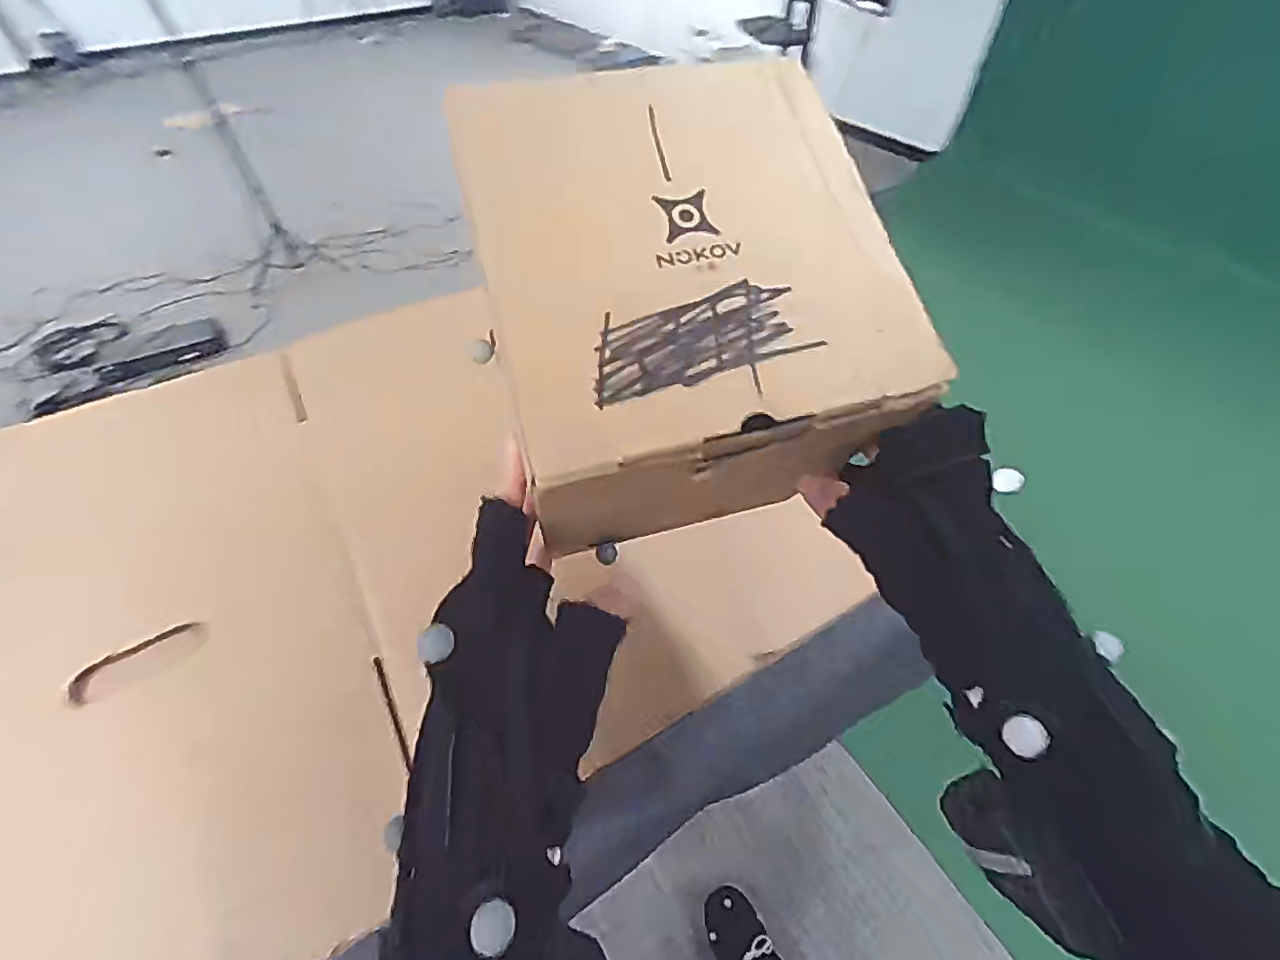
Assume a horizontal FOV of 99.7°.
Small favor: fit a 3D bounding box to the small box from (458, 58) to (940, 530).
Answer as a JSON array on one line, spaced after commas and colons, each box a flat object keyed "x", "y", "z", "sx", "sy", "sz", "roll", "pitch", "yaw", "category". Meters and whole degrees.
[{"x": 0.013, "y": -0.078, "z": 0.297, "sx": 0.168, "sy": 0.176, "sz": 0.179, "roll": -12, "pitch": 75, "yaw": -10, "category": "small box"}]
